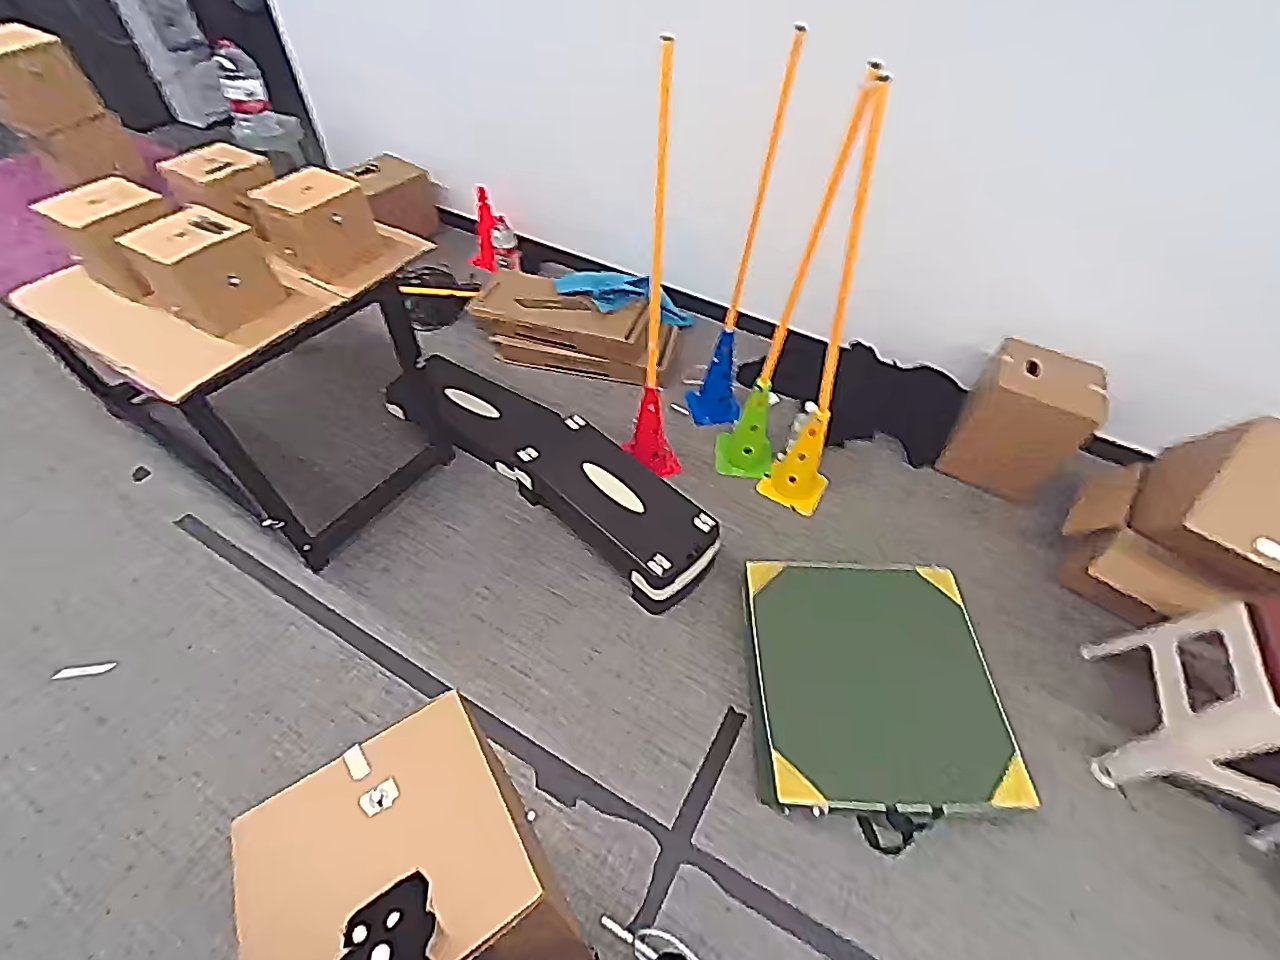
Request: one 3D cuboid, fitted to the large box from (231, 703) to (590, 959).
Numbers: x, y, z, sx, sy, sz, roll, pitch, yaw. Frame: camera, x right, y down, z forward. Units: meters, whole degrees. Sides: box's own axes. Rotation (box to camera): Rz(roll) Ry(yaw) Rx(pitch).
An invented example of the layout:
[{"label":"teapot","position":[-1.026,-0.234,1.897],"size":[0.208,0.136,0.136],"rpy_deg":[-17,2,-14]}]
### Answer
[{"label":"large box","position":[-0.311,0.614,0.793],"size":[0.320,0.408,0.320],"rpy_deg":[-27,45,-21]}]
